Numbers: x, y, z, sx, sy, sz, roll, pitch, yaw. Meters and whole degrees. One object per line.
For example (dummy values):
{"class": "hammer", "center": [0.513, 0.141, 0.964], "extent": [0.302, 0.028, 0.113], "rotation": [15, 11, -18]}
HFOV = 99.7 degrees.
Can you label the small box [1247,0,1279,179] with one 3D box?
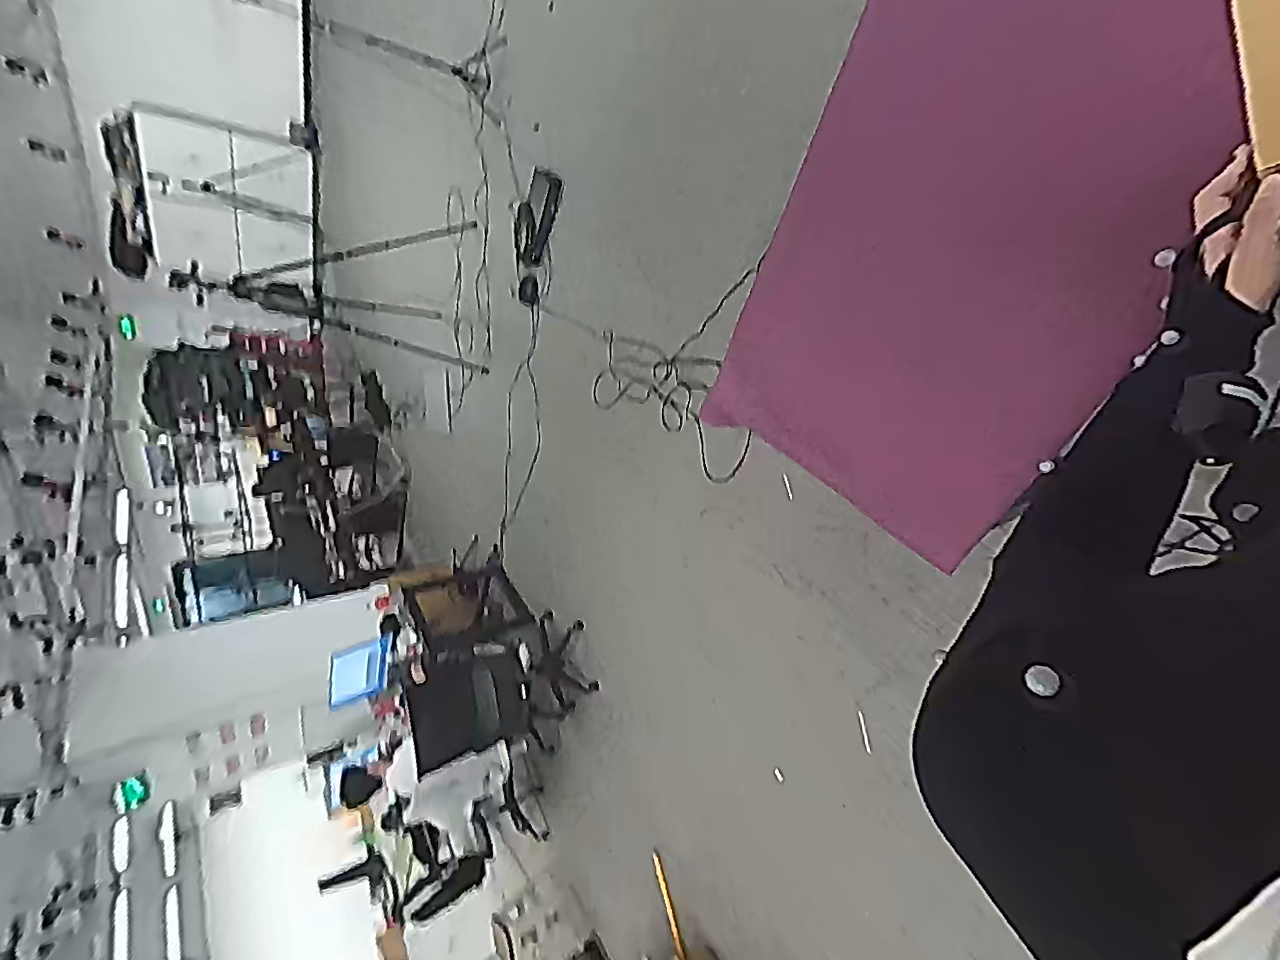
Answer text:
{"class": "small box", "center": [0.613, -0.339, 0.418], "extent": [0.168, 0.176, 0.179], "rotation": [-10, 81, 56]}
